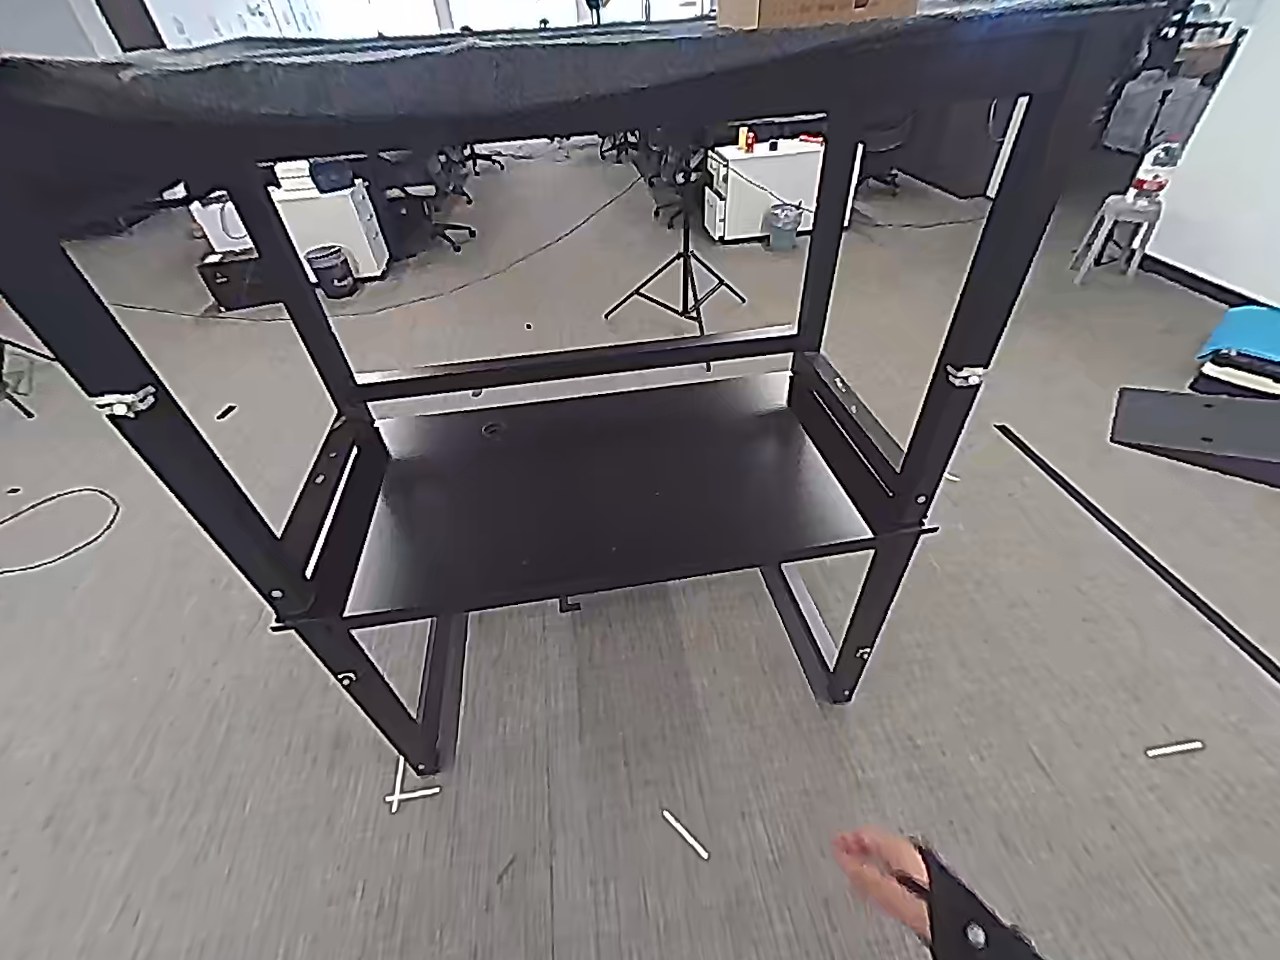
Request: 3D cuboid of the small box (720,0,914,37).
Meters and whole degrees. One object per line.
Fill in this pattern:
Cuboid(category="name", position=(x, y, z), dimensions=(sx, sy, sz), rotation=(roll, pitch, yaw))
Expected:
Cuboid(category="small box", position=(0.180, -0.566, 0.552), dimensions=(0.168, 0.176, 0.179), rotation=(-8, 41, -3))
